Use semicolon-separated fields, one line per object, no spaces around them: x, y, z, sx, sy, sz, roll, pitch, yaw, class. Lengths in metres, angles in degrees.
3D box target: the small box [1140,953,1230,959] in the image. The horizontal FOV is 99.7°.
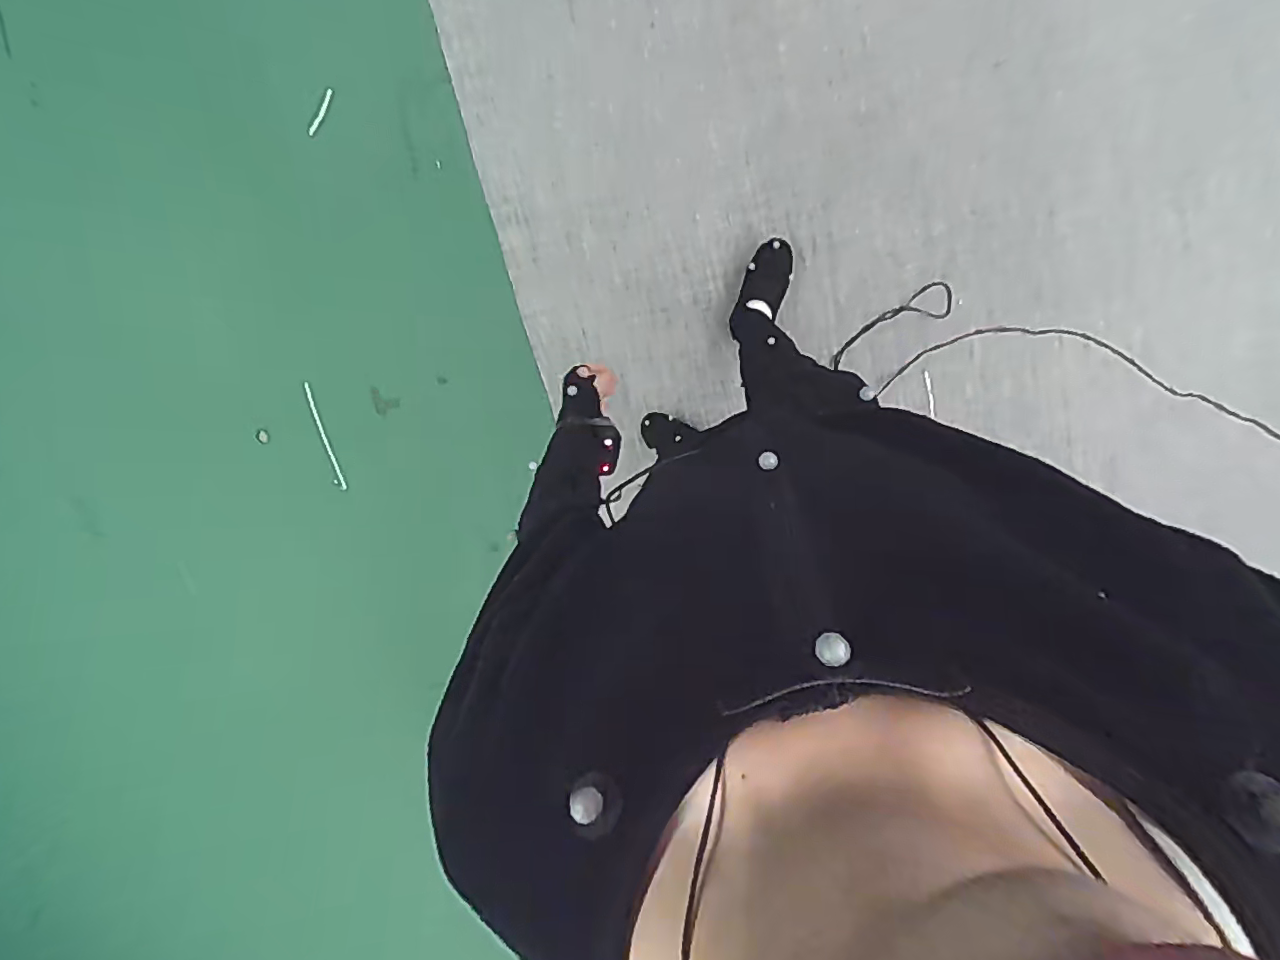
0.910;0.893;0.839;0.168;0.176;0.179;-13;103;5;small box
